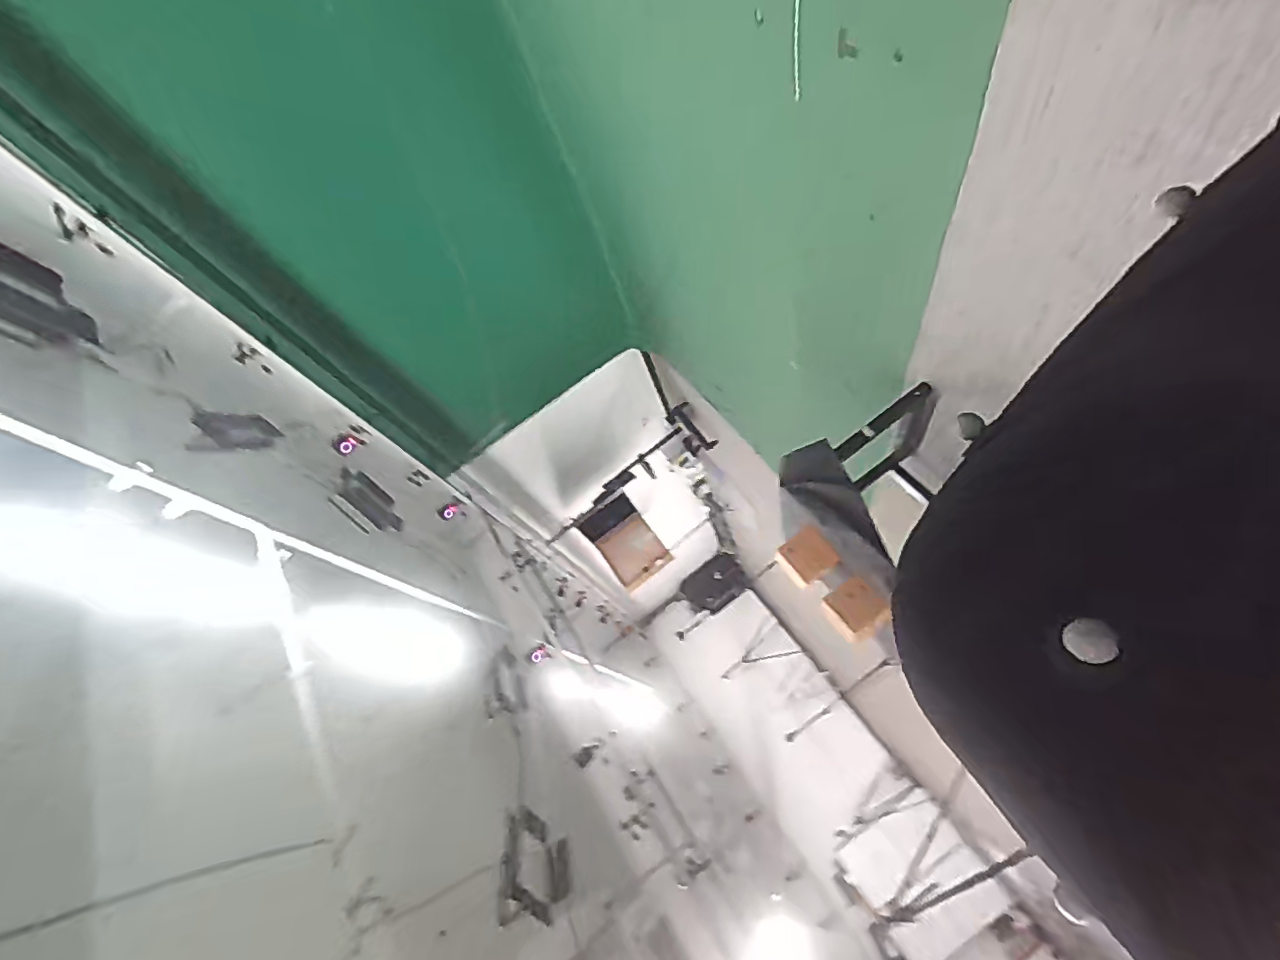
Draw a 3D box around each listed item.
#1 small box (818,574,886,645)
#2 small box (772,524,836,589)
[{"bbox_3d":[0.780,0.473,1.987,0.168,0.176,0.179,52,178,37],"label":"small box"},{"bbox_3d":[0.641,0.300,2.123,0.179,0.176,0.168,52,177,22],"label":"small box"}]
